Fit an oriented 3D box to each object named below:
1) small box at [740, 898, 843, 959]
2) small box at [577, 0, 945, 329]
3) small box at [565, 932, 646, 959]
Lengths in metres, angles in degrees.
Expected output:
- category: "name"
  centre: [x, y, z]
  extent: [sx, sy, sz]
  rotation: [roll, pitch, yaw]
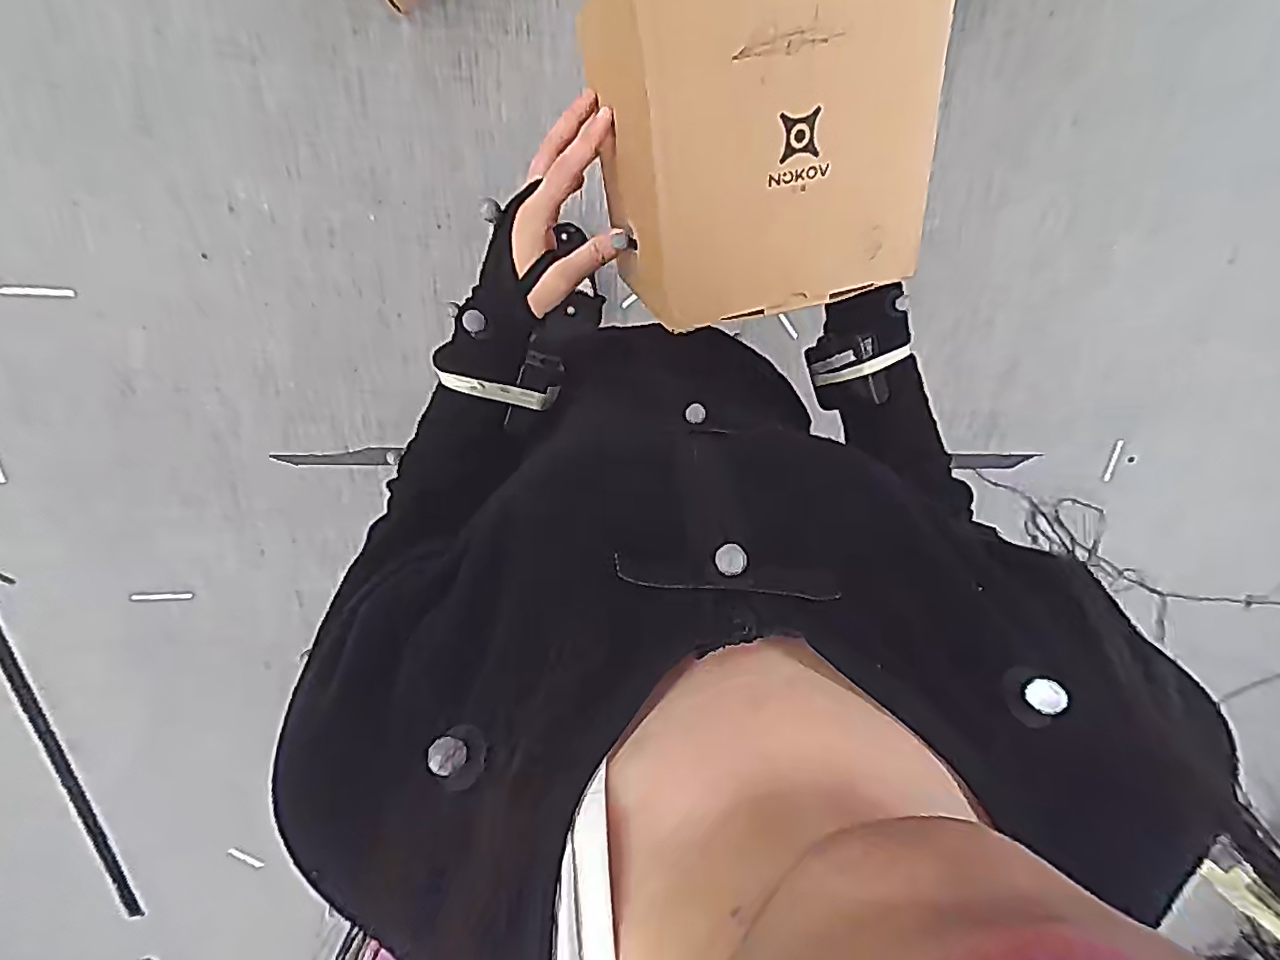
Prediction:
- category: "small box"
  centre: [0.318, 1.021, 1.141]
  extent: [0.168, 0.176, 0.179]
  rotation: [-2, 113, -7]
- category: "small box"
  centre: [0.063, -0.224, 0.358]
  extent: [0.168, 0.176, 0.179]
  rotation: [-16, 124, -6]
- category: "small box"
  centre: [-0.069, 1.064, 1.103]
  extent: [0.168, 0.176, 0.179]
  rotation: [-1, 113, -7]
